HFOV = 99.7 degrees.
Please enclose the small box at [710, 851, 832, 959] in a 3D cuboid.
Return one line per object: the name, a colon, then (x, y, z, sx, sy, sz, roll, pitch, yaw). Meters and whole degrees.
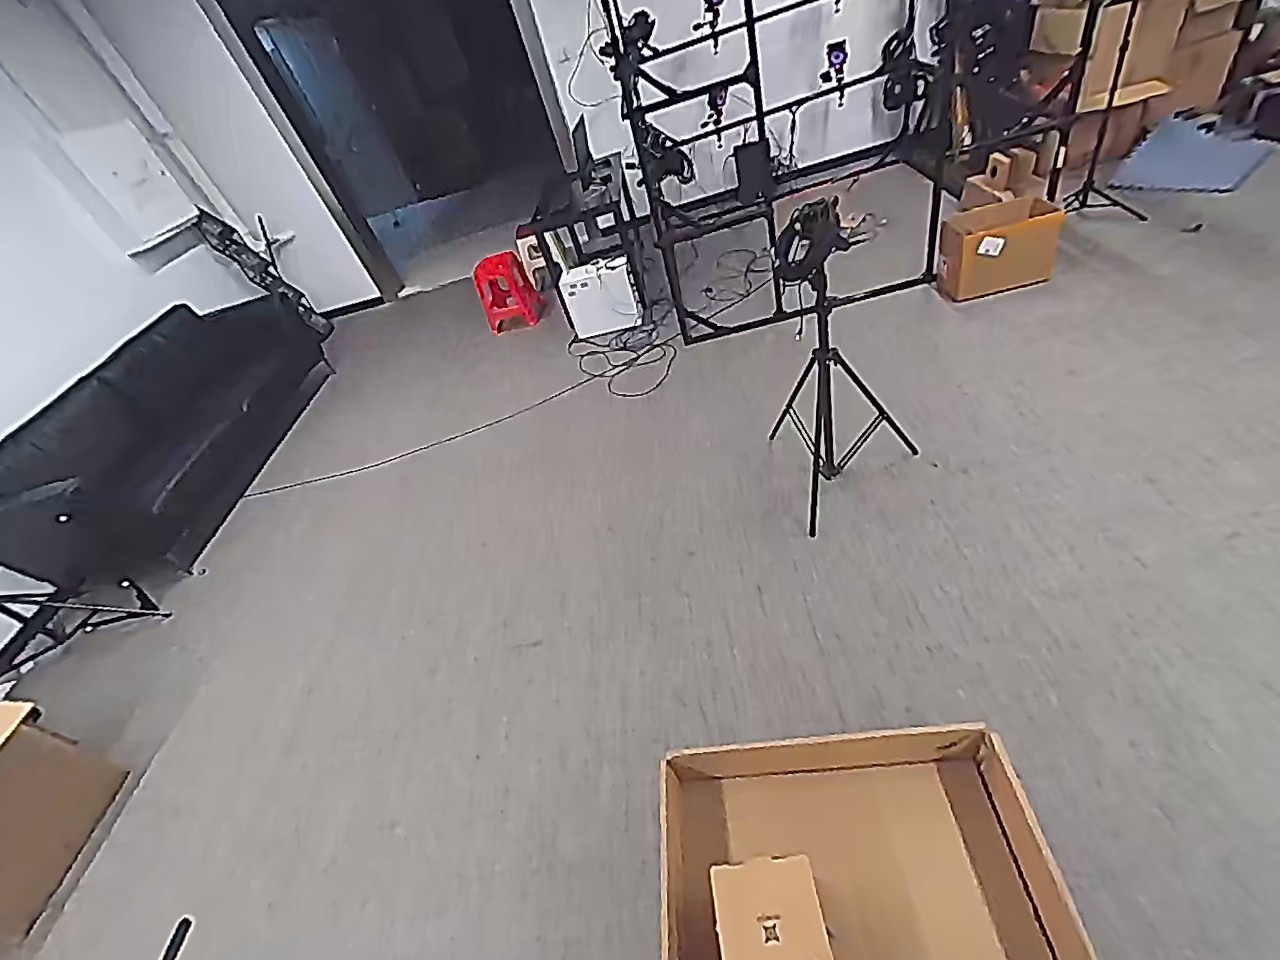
small box: (0.220, 0.745, 0.888, 0.168, 0.176, 0.179, -14, 41, 8)
